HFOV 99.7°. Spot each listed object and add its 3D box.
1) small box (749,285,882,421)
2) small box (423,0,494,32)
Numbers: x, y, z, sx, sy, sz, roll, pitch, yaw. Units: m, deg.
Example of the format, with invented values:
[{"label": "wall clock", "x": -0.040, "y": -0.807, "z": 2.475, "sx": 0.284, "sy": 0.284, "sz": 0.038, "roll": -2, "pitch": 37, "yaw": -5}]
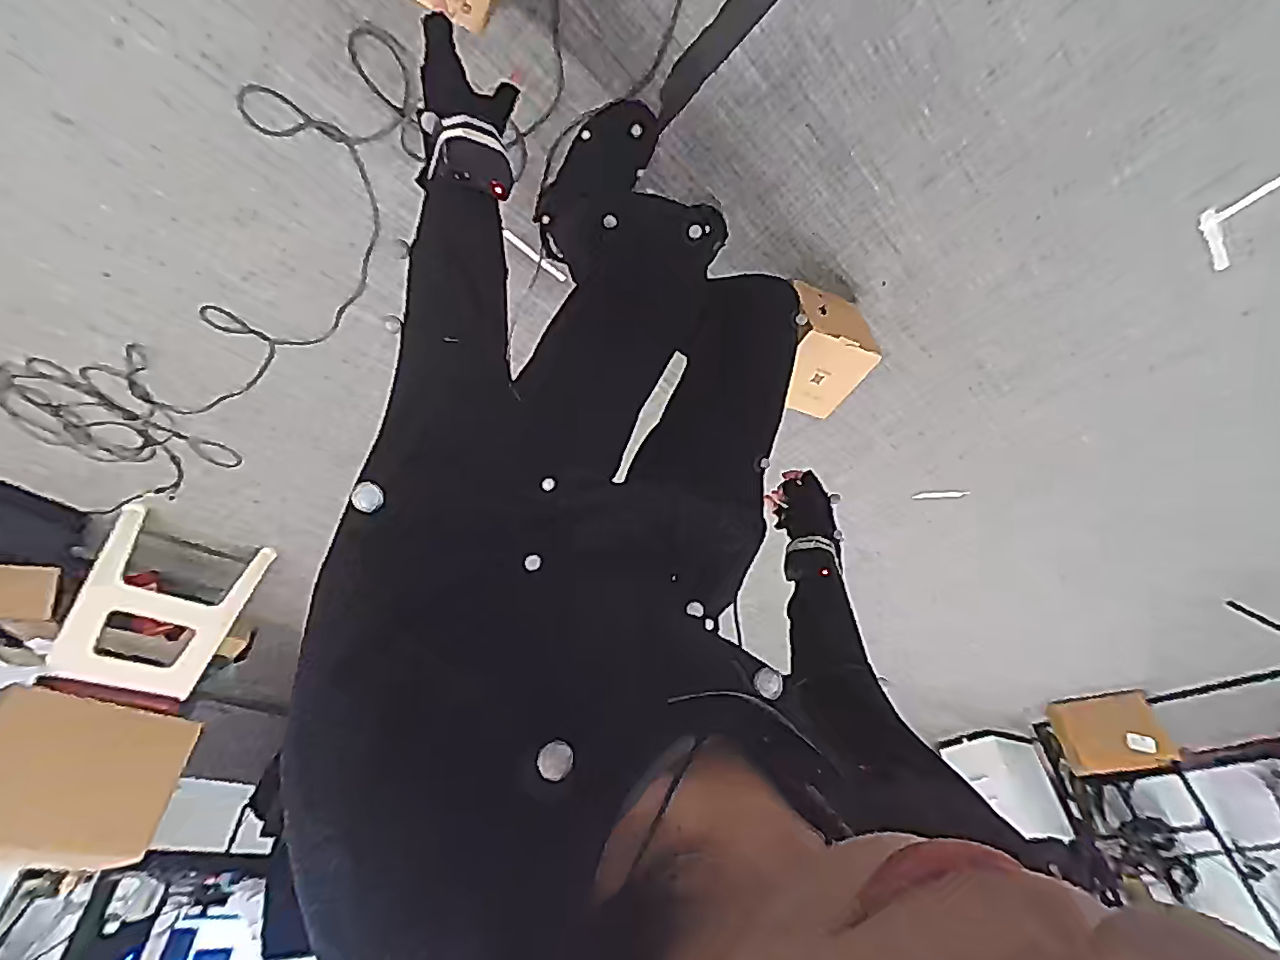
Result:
[{"label": "small box", "x": 0.332, "y": -0.252, "z": 1.068, "sx": 0.168, "sy": 0.176, "sz": 0.179, "roll": 15, "pitch": 138, "yaw": -19}, {"label": "small box", "x": -0.219, "y": -0.637, "z": 0.573, "sx": 0.168, "sy": 0.176, "sz": 0.179, "roll": 17, "pitch": 135, "yaw": -23}]
